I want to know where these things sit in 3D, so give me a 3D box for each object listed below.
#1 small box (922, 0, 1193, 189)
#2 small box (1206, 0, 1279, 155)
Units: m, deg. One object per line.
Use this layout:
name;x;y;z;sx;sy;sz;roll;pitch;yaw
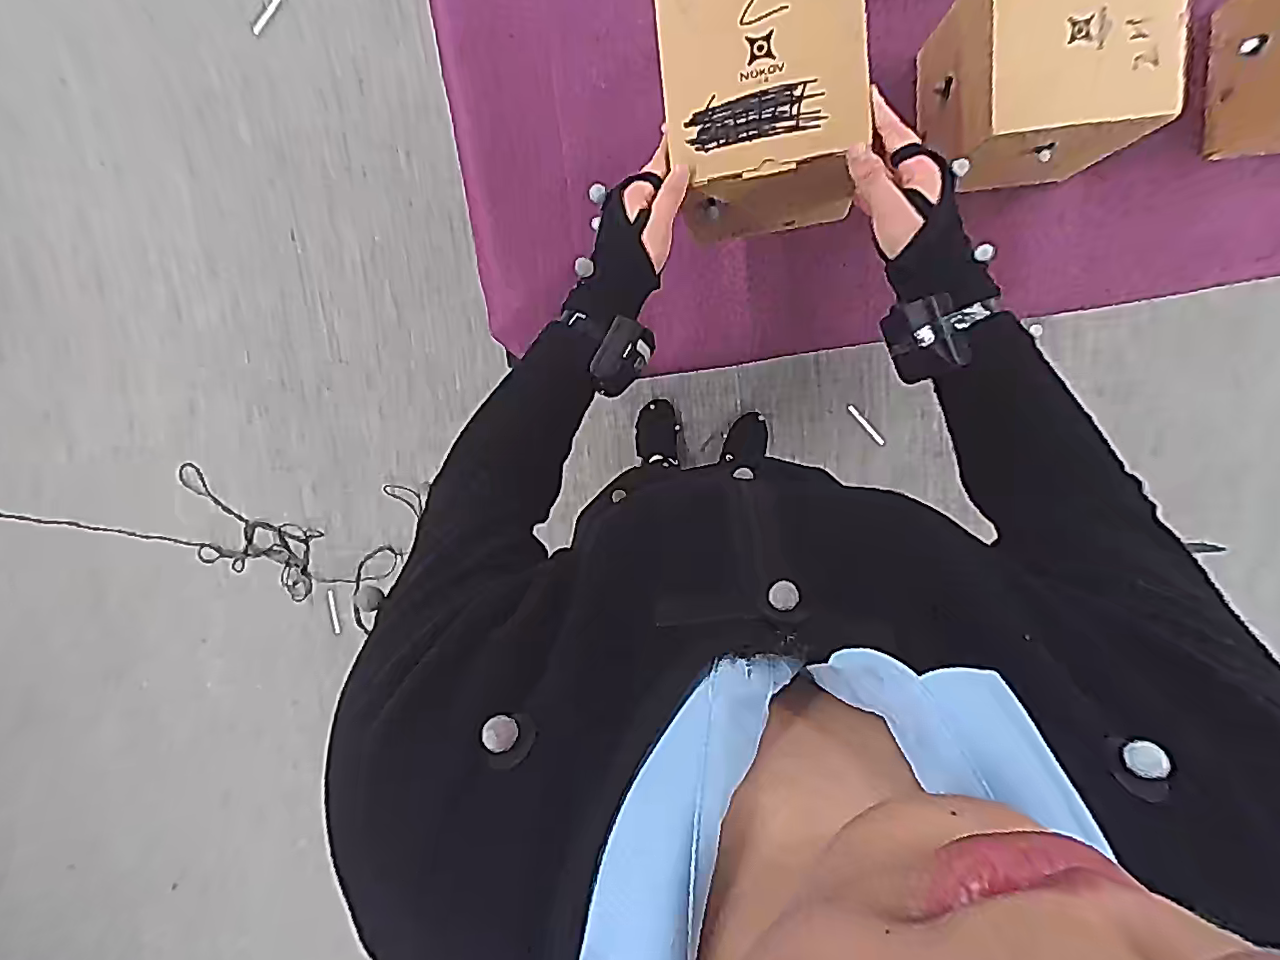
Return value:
small box;0.425;-0.433;0.581;0.179;0.176;0.168;-4;99;4
small box;0.759;-0.462;0.554;0.179;0.176;0.168;-3;98;5
